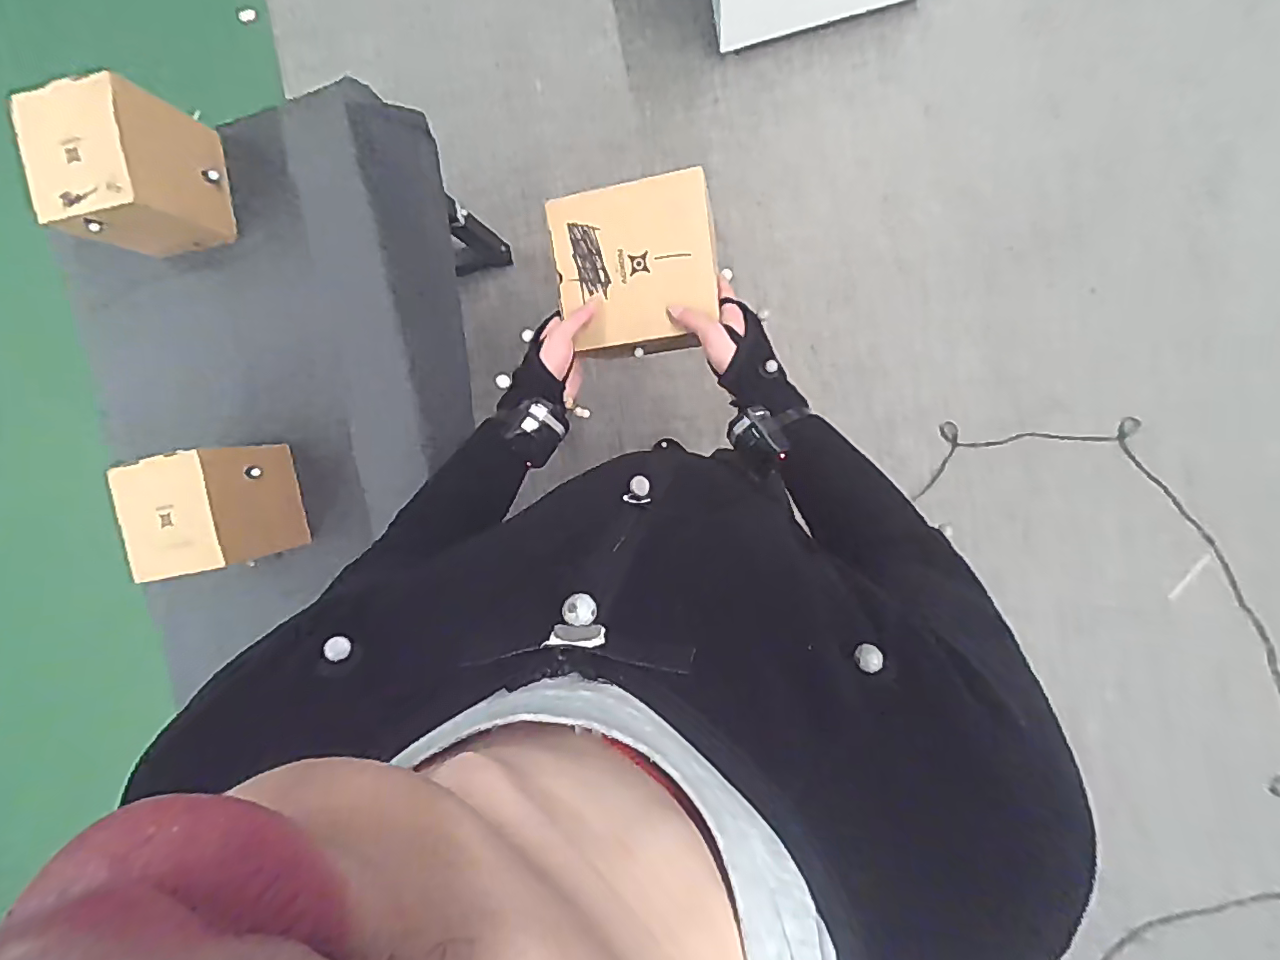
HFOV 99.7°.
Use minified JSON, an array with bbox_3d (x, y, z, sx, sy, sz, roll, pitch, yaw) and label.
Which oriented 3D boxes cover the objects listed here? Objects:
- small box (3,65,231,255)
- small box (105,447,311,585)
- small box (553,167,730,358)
[{"bbox_3d":[-0.761,-0.460,0.806,0.168,0.176,0.179,-6,95,8],"label":"small box"},{"bbox_3d":[-0.662,0.047,0.850,0.168,0.176,0.179,-11,96,10],"label":"small box"},{"bbox_3d":[0.014,-0.244,0.652,0.179,0.176,0.168,-6,99,11],"label":"small box"}]
